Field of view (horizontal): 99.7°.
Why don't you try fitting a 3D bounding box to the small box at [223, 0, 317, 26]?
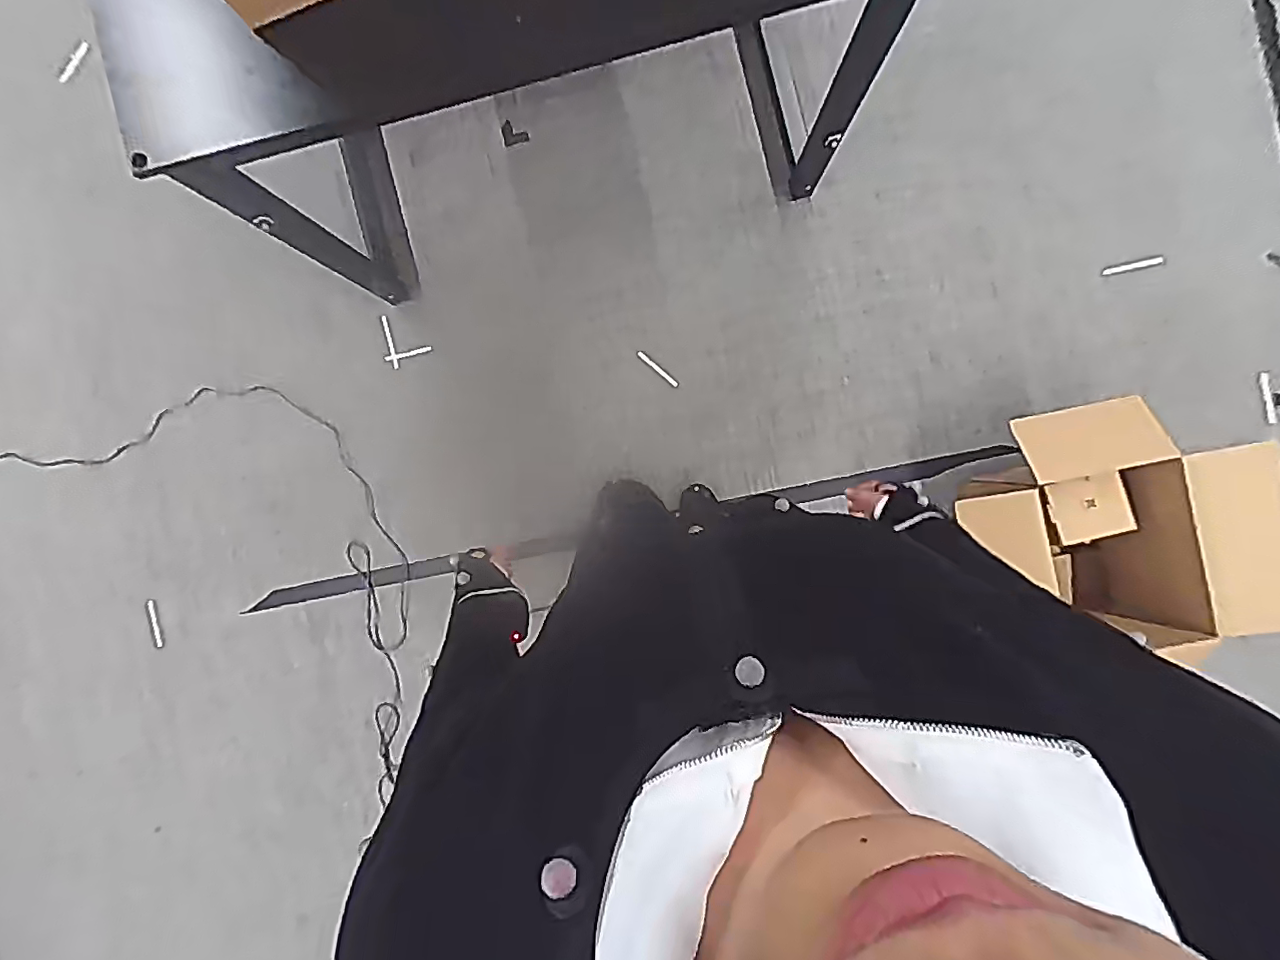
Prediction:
[{"bbox_3d":[-0.506,-0.742,0.684,0.179,0.176,0.168,-20,91,3],"label":"small box"}]
